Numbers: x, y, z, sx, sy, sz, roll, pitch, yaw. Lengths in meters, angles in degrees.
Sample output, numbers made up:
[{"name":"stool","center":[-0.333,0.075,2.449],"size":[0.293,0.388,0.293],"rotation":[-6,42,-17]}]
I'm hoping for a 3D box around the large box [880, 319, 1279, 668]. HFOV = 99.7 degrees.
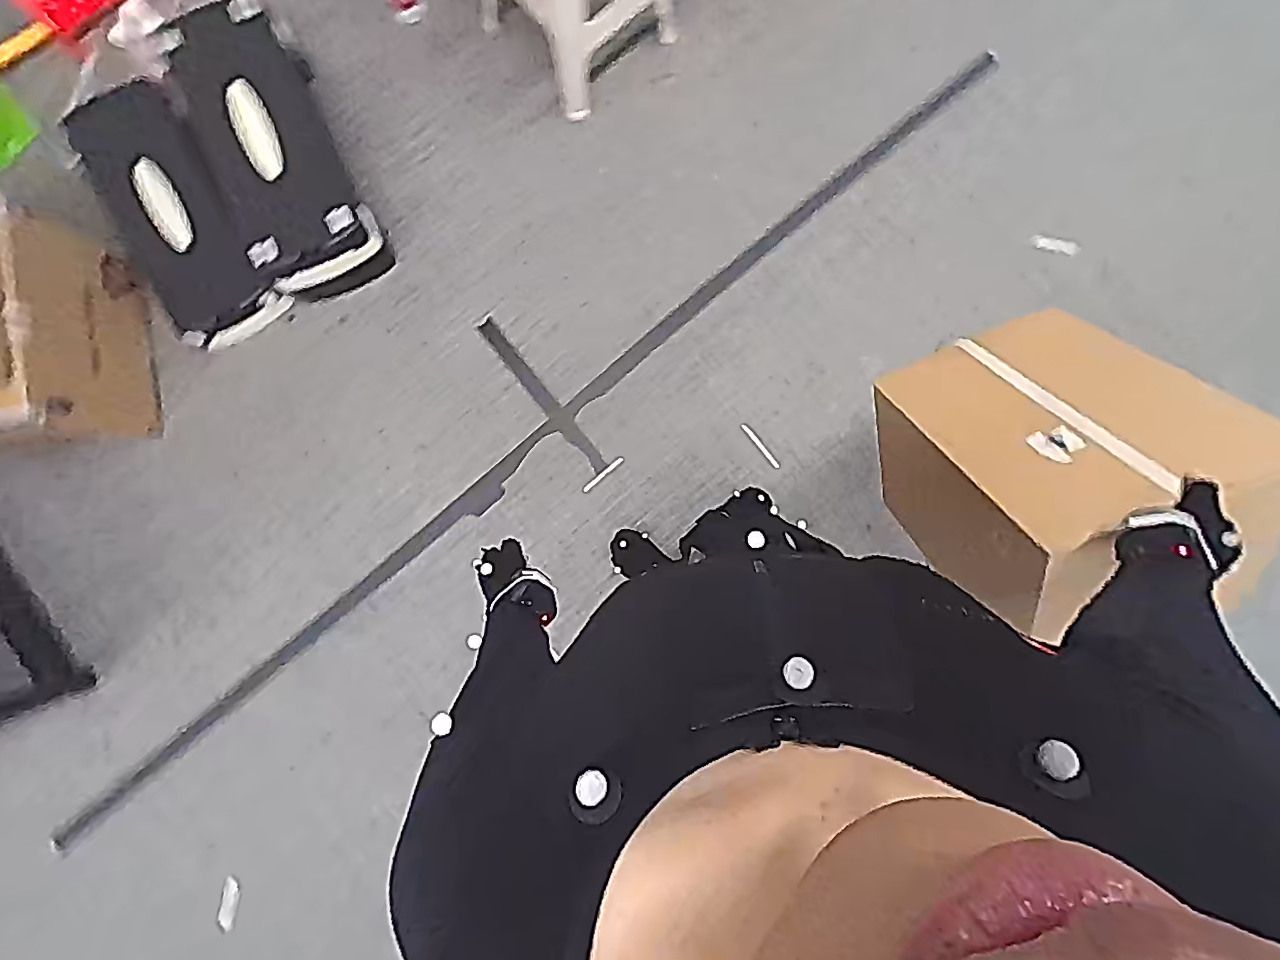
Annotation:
[{"name":"large box","center":[0.629,0.011,0.859],"size":[0.320,0.408,0.320],"rotation":[-21,131,6]}]
